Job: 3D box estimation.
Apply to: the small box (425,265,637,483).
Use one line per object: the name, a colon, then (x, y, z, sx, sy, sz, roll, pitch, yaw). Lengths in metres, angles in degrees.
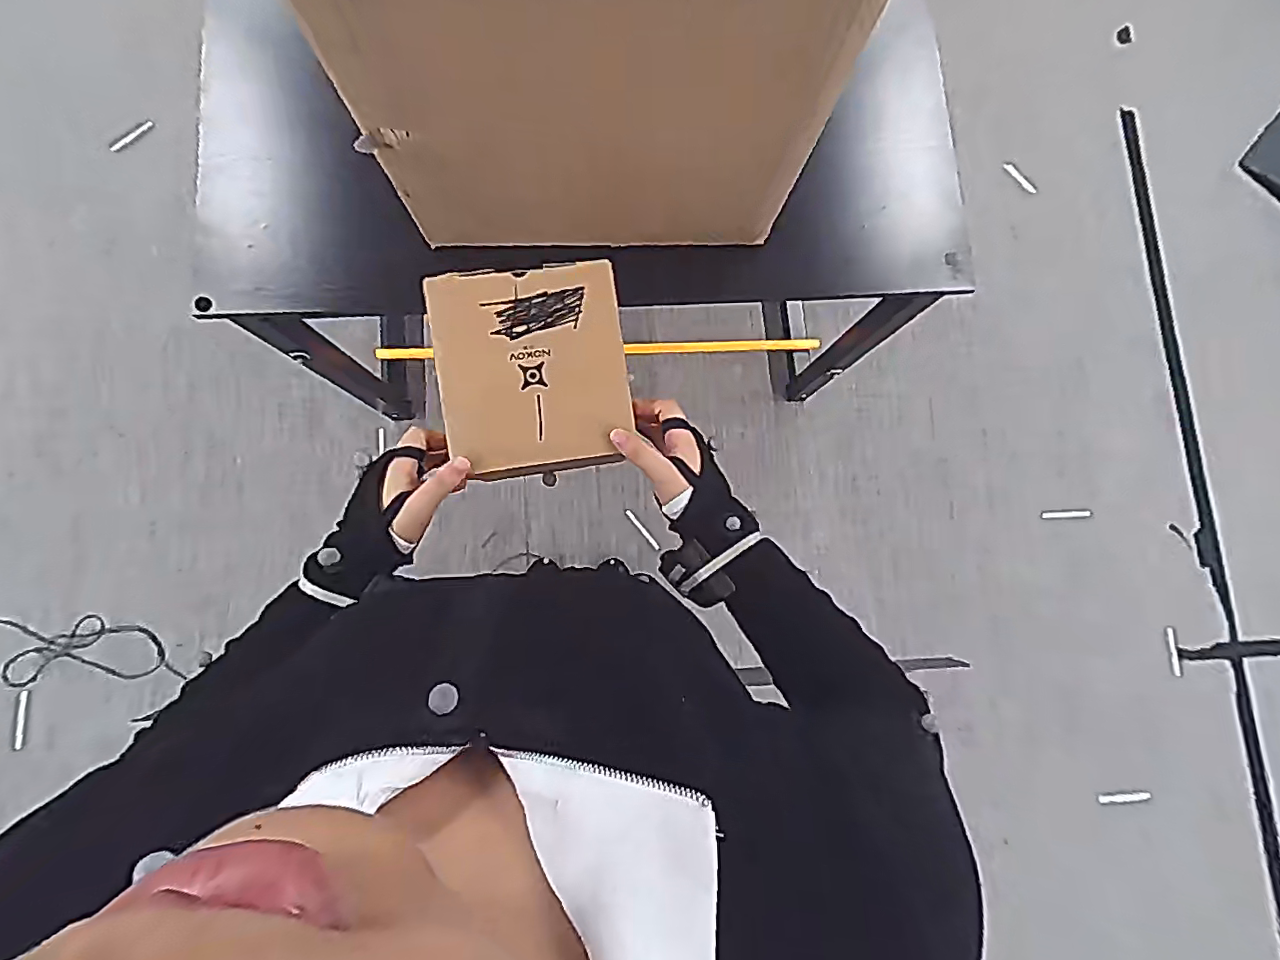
small box: (-0.103, -0.094, 0.553, 0.168, 0.176, 0.179, -9, 90, -6)
